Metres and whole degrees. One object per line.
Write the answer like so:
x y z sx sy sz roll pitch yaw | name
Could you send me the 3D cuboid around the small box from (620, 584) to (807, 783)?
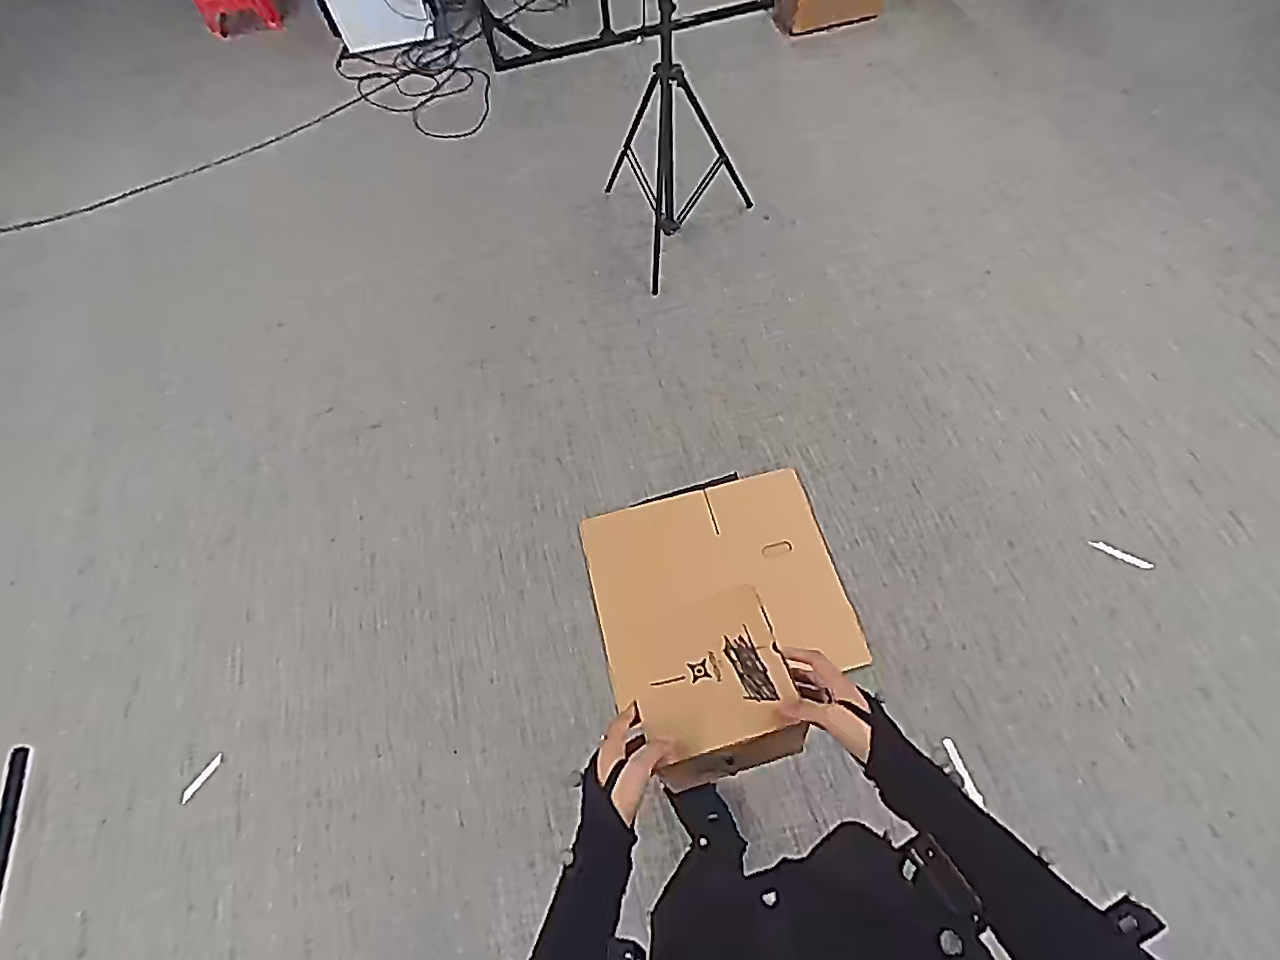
0.090 0.260 0.678 0.179 0.176 0.168 -18 52 1 | small box
